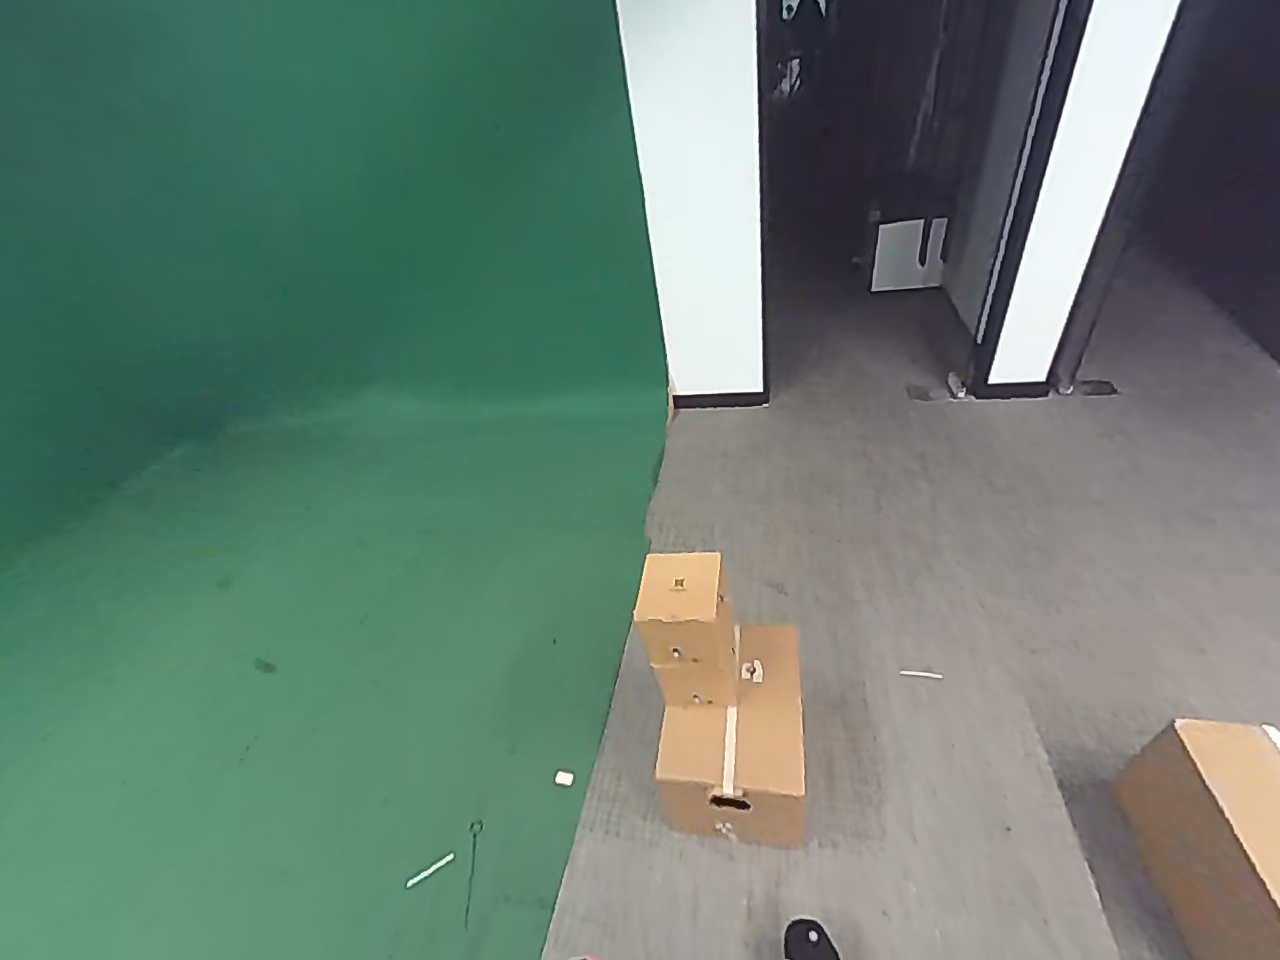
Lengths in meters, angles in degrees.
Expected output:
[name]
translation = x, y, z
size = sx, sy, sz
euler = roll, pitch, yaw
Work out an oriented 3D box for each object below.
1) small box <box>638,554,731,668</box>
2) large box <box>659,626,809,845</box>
[small box]
translation = 0.104, 0.279, 1.164
size = 0.168, 0.176, 0.179
euler = -4, 41, 16
[large box]
translation = 0.249, 0.625, 1.355
size = 0.320, 0.320, 0.408
euler = -1, 39, 14
